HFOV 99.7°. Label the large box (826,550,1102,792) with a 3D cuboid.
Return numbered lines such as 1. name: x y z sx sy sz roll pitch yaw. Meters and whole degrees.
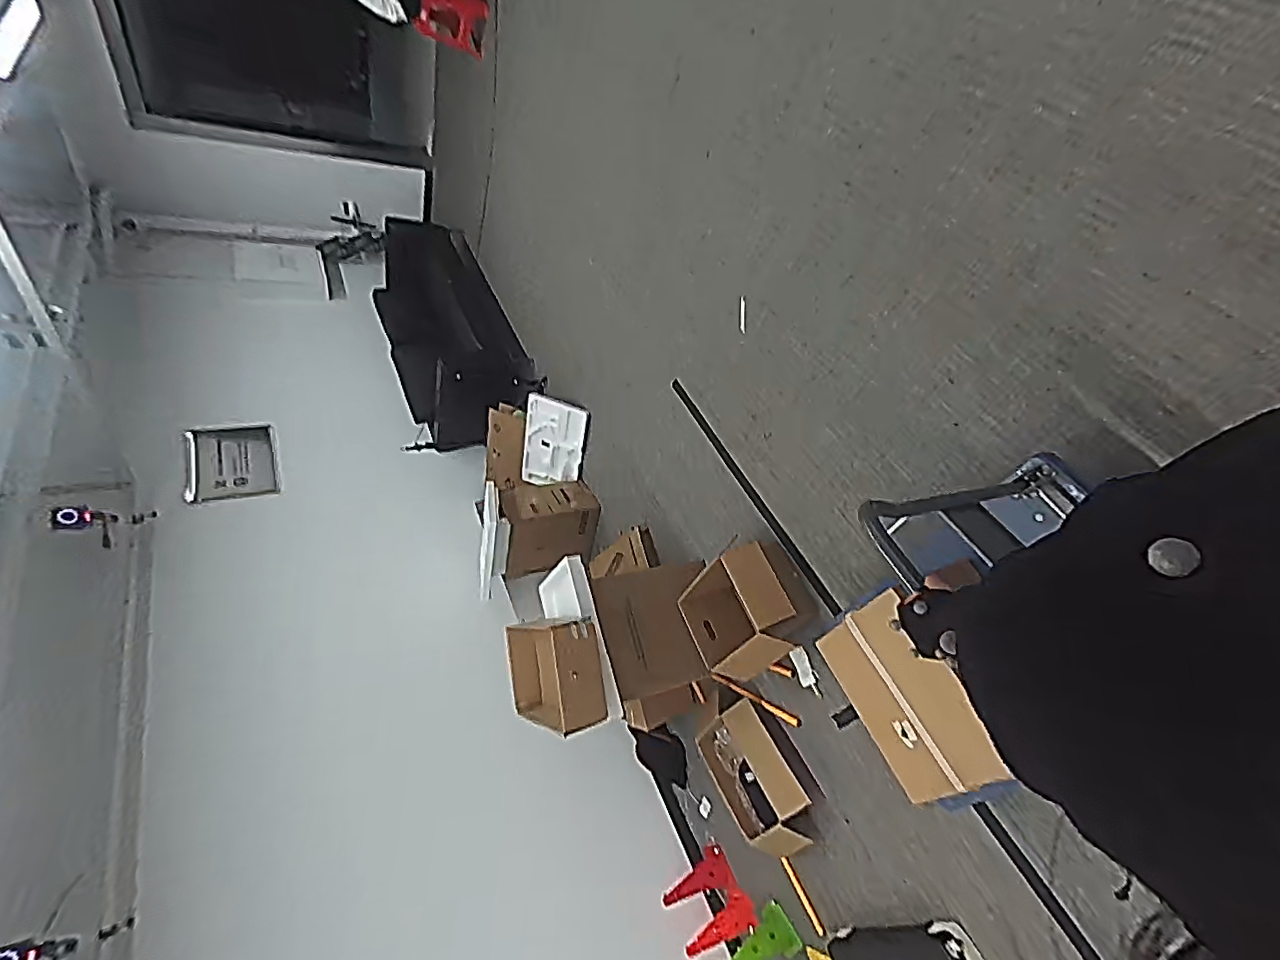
1. large box: 0.739 0.435 1.280 0.408 0.320 0.320 61 145 29
